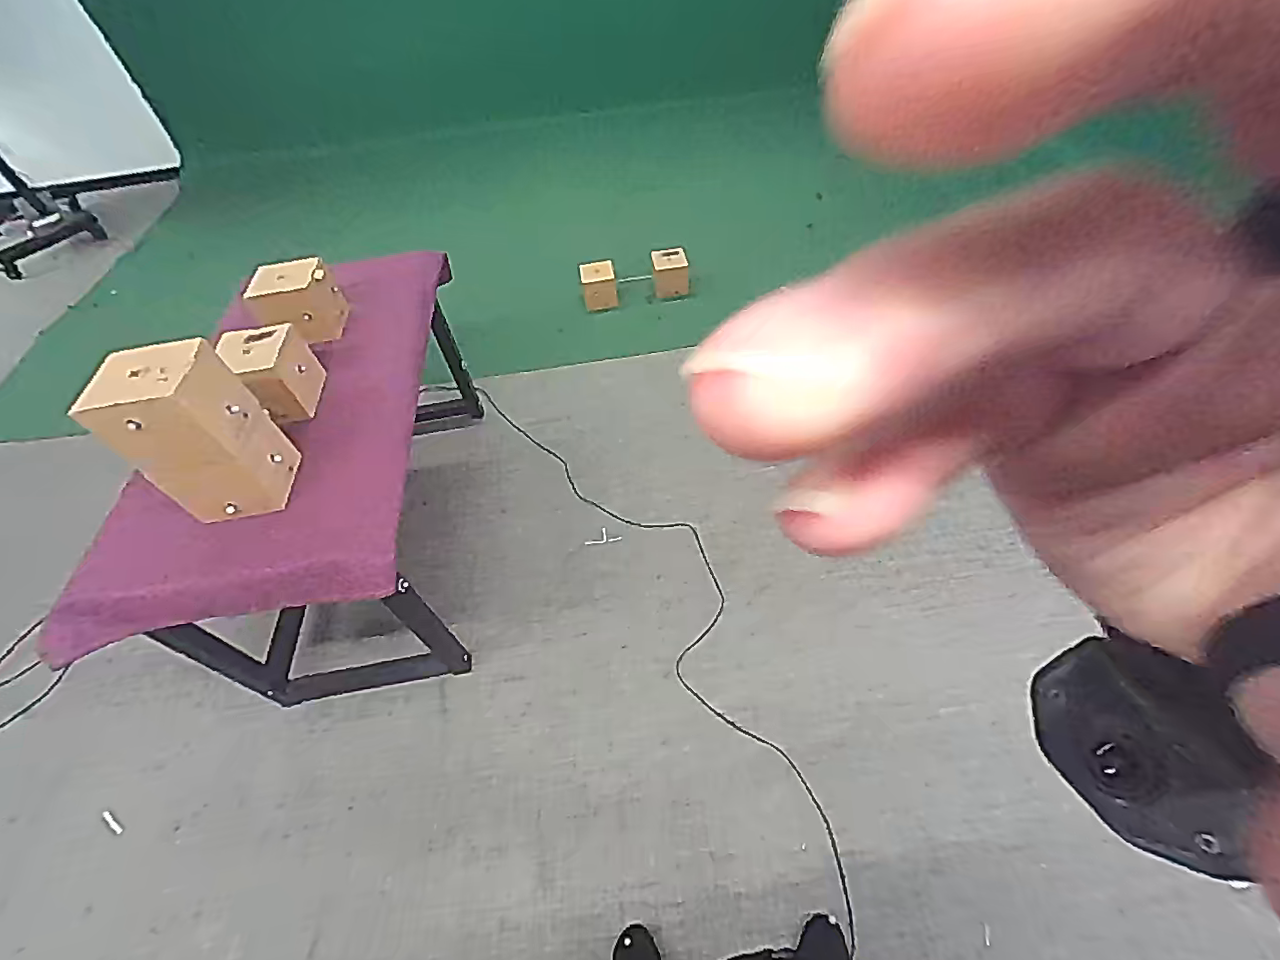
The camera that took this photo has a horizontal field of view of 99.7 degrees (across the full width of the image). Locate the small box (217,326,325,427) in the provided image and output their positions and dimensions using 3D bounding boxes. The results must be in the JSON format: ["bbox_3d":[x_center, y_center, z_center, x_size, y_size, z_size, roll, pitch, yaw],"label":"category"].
[{"bbox_3d":[-0.912,-0.250,1.335,0.168,0.176,0.179,-10,52,-2],"label":"small box"}]

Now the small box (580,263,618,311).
[{"bbox_3d":[-0.210,-0.986,2.786,0.168,0.176,0.179,-10,50,-1],"label":"small box"}]

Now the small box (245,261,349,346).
[{"bbox_3d":[-0.962,-0.493,1.538,0.179,0.176,0.168,-10,51,-1],"label":"small box"}]

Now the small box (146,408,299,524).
[{"bbox_3d":[-0.870,-0.028,1.152,0.179,0.176,0.168,-10,50,-3],"label":"small box"}]

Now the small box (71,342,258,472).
[{"bbox_3d":[-0.882,-0.133,1.025,0.179,0.176,0.168,-10,52,-3],"label":"small box"}]
